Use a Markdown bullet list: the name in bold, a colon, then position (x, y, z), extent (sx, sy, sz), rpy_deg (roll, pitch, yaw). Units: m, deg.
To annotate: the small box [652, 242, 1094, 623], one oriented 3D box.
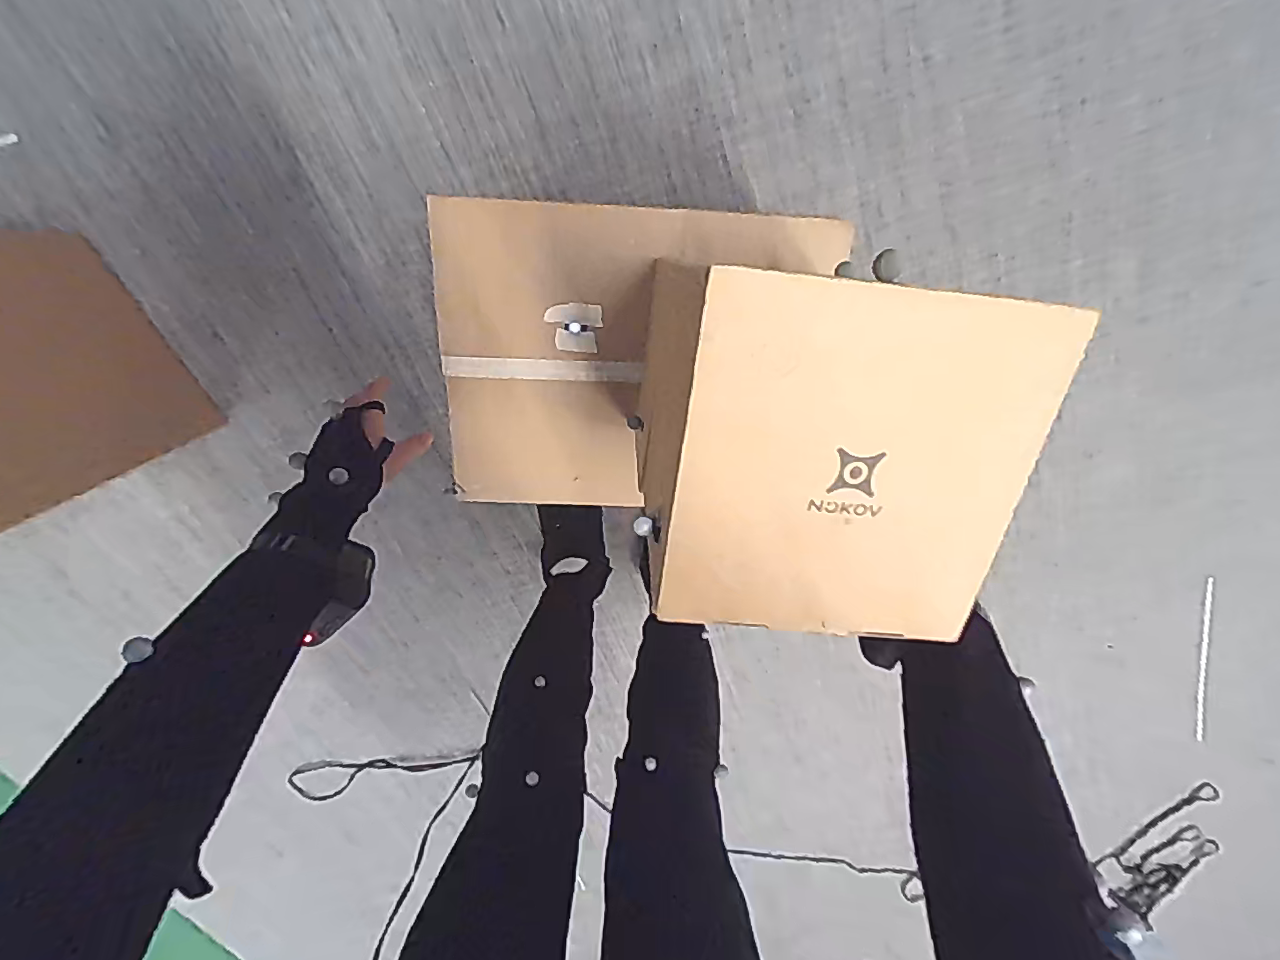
- **small box**: position (0.099, -0.040, 0.326), extent (0.168, 0.176, 0.179), rpy_deg (5, 114, -4)
